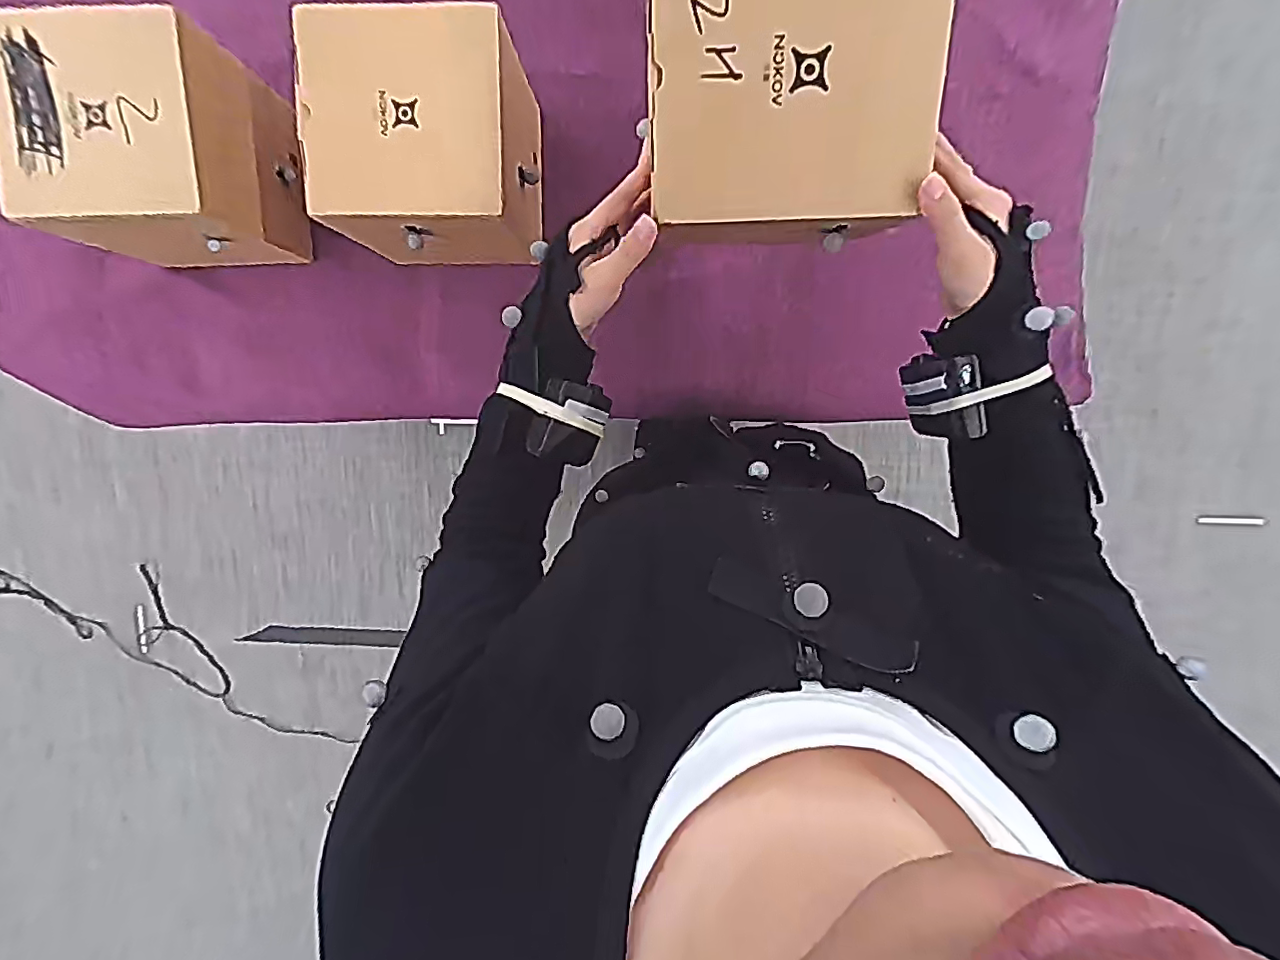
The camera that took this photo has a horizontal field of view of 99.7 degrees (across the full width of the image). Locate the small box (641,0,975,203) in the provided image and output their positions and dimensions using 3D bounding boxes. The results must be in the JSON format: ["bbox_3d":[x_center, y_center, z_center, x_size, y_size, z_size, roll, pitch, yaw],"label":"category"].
[{"bbox_3d":[0.094,-0.286,0.358,0.179,0.176,0.168,3,111,4],"label":"small box"}]

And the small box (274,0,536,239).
[{"bbox_3d":[-0.198,-0.335,0.510,0.179,0.176,0.168,1,101,3],"label":"small box"}]
